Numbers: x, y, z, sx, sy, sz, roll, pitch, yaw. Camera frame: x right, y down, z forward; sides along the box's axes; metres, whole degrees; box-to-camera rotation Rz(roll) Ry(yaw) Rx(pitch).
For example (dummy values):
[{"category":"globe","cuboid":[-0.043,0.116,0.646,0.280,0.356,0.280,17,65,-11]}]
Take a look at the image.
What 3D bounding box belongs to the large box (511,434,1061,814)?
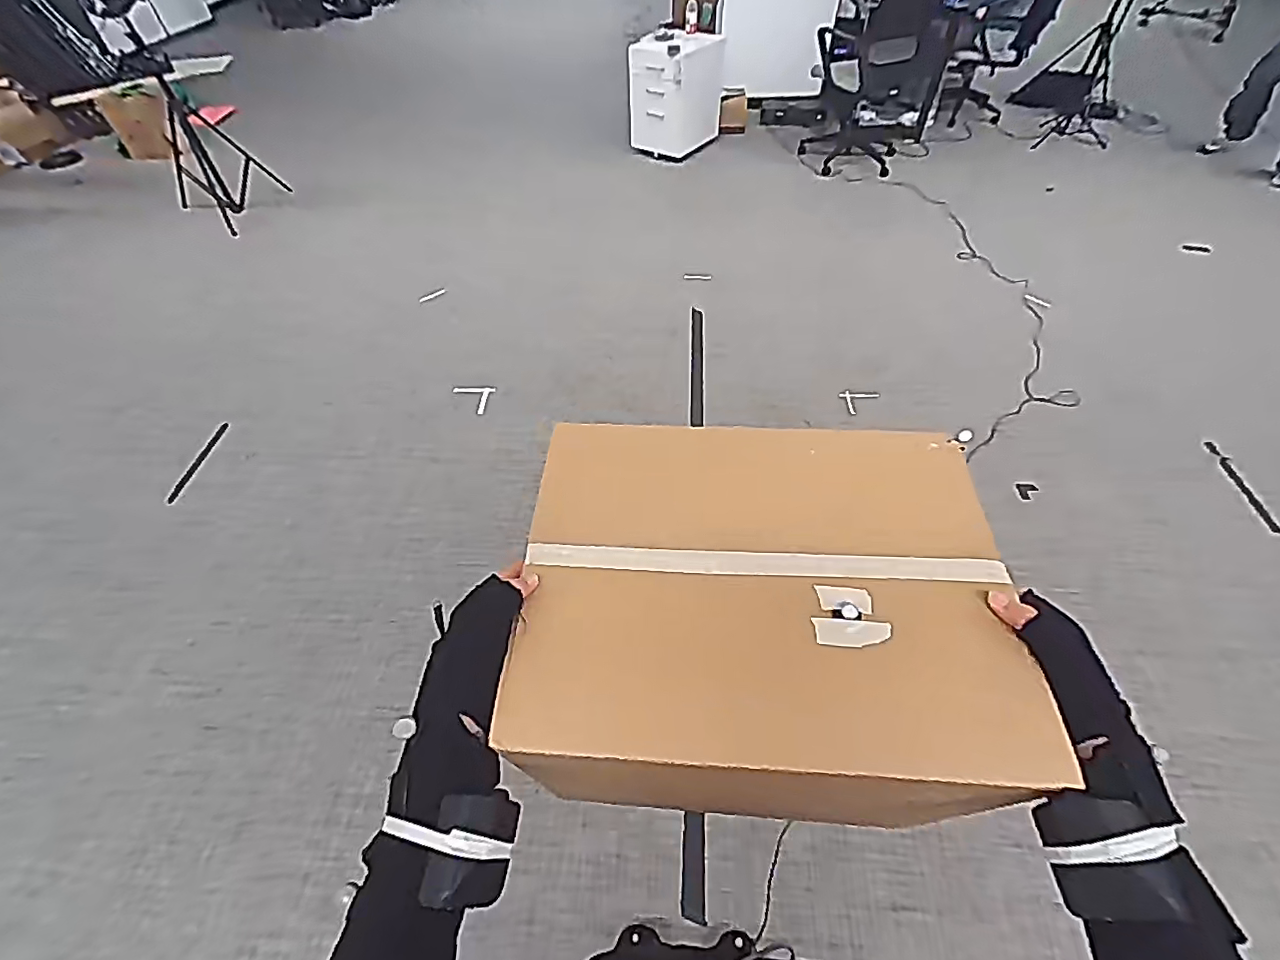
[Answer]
[{"category":"large box","cuboid":[0.111,0.165,0.595,0.408,0.320,0.320,2,55,4]}]
